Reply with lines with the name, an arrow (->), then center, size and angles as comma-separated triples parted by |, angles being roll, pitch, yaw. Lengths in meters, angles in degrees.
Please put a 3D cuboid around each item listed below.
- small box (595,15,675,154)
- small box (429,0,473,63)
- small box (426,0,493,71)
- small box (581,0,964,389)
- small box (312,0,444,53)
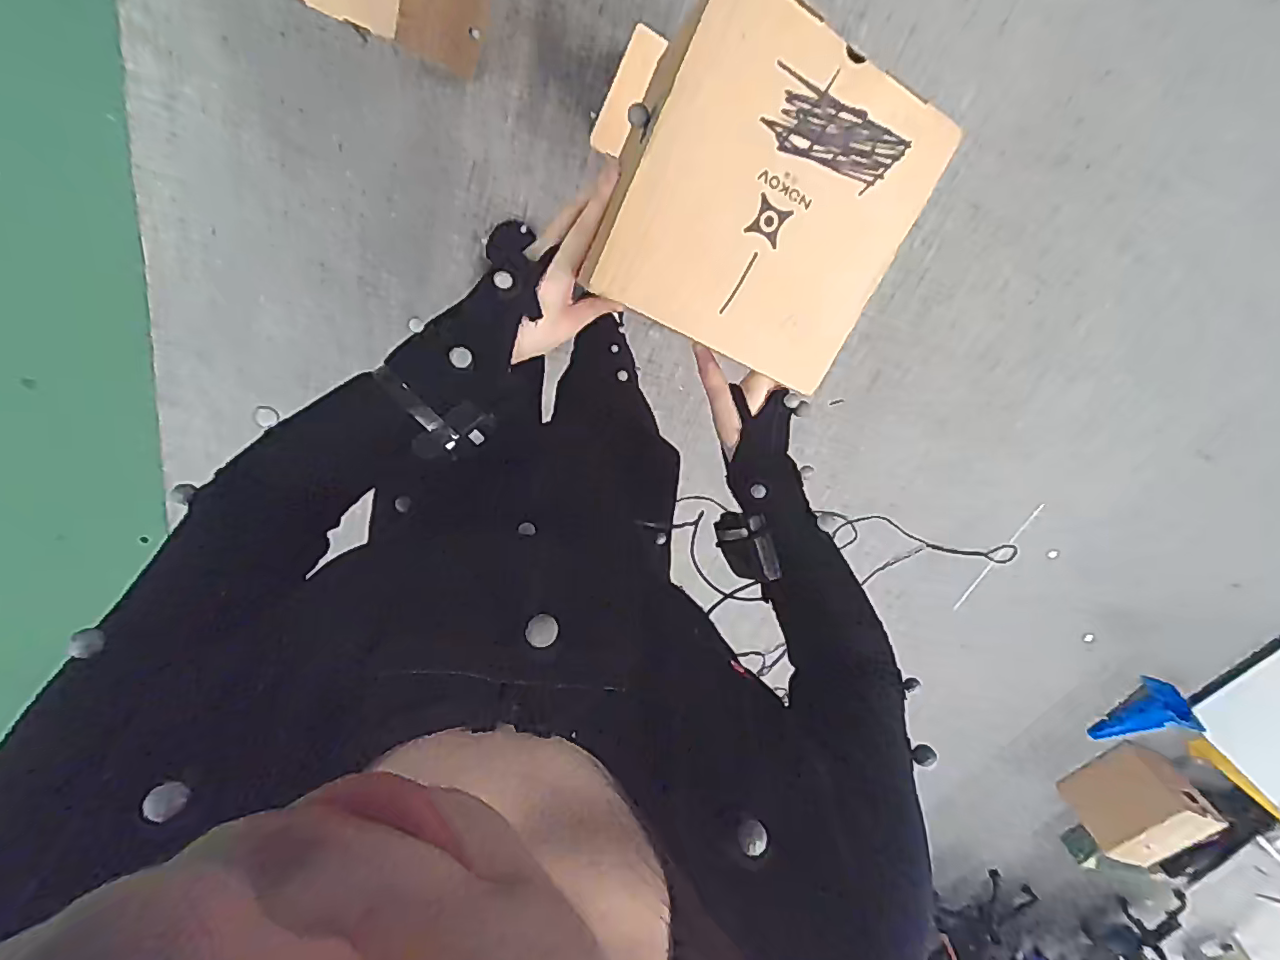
small box -> 0.031, -0.620, 0.908 | 0.168, 0.176, 0.179 | 23, 118, -16
small box -> -0.349, -0.759, 0.800 | 0.168, 0.176, 0.179 | 17, 120, -12
small box -> -0.359, -0.847, 0.936 | 0.168, 0.176, 0.179 | 19, 119, -15
small box -> 0.065, -0.192, 0.380 | 0.168, 0.176, 0.179 | 22, 107, -18
small box -> -0.340, -0.669, 0.662 | 0.168, 0.176, 0.179 | 18, 119, -12
